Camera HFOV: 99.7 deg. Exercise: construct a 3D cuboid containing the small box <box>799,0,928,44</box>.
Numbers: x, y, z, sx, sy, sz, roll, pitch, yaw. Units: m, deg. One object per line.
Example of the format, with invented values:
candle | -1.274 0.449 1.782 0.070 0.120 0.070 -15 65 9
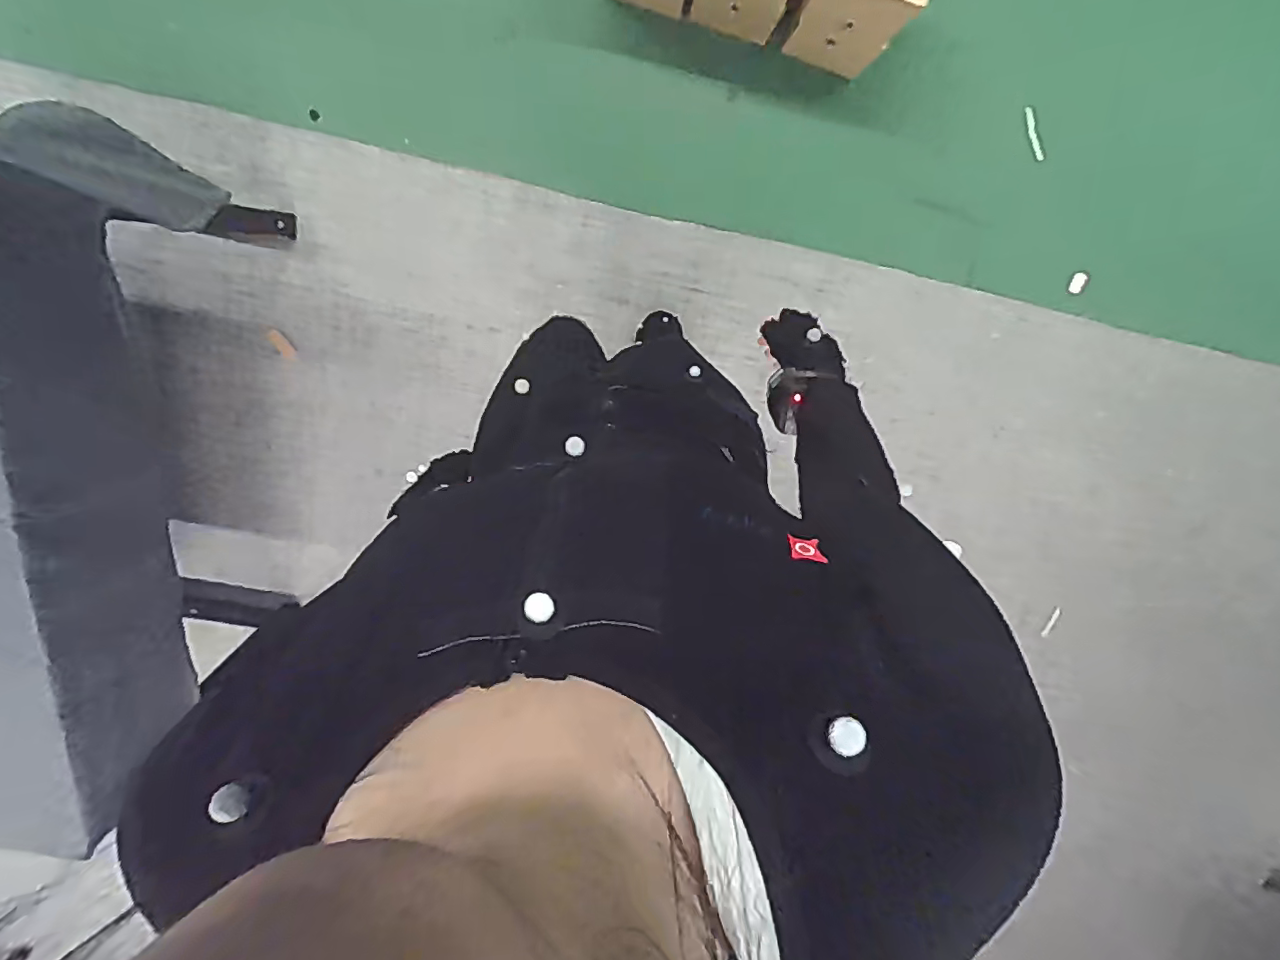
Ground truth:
small box | 0.403 -0.895 0.934 0.179 0.176 0.168 11 110 -6
